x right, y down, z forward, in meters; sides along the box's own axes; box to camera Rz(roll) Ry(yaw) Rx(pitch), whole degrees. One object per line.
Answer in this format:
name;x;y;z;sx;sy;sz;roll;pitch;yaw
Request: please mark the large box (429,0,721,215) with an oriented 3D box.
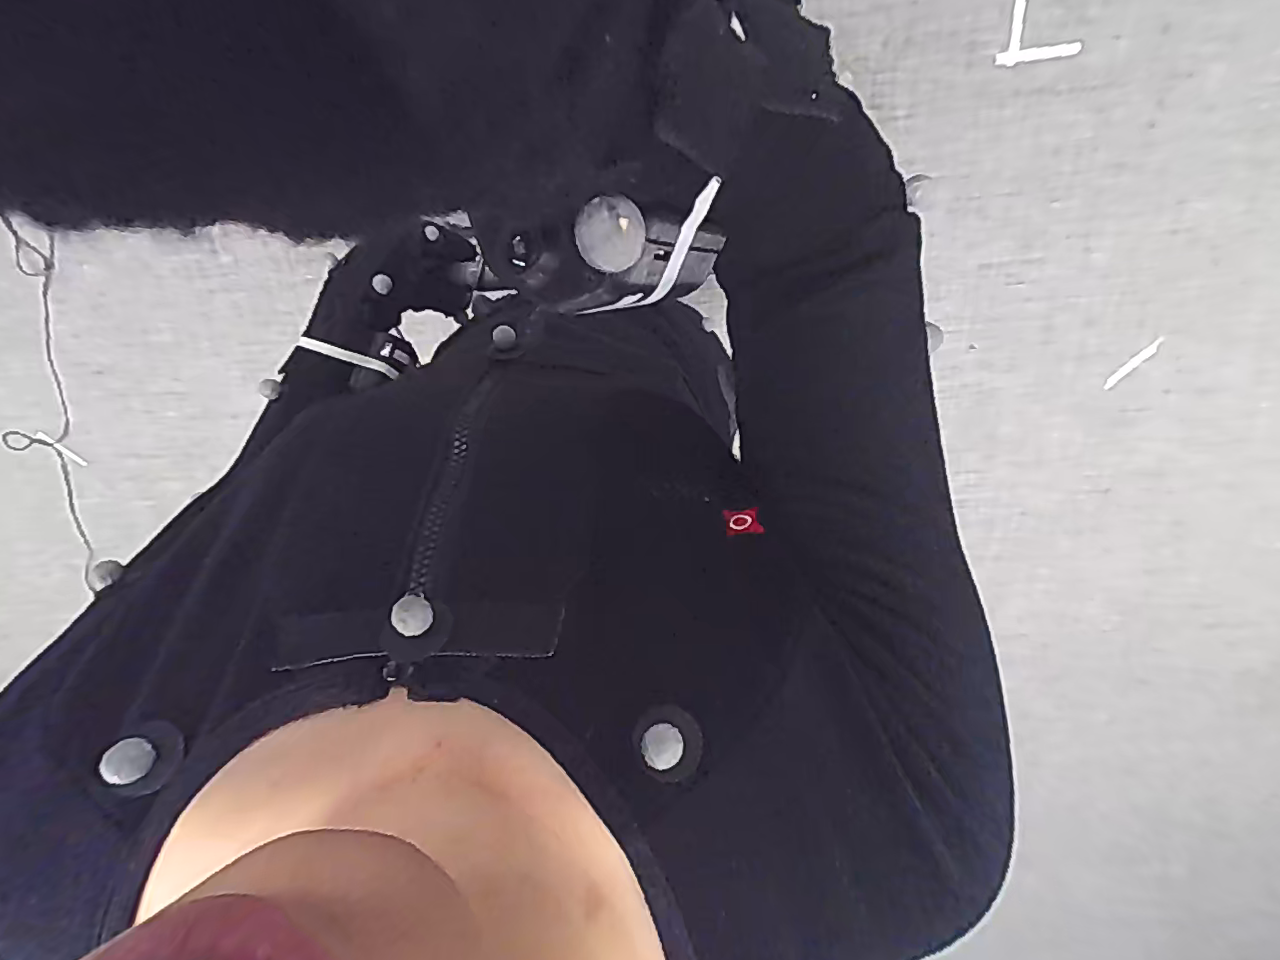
large box;-0.088;-0.640;0.908;0.408;0.320;0.320;-4;114;0
